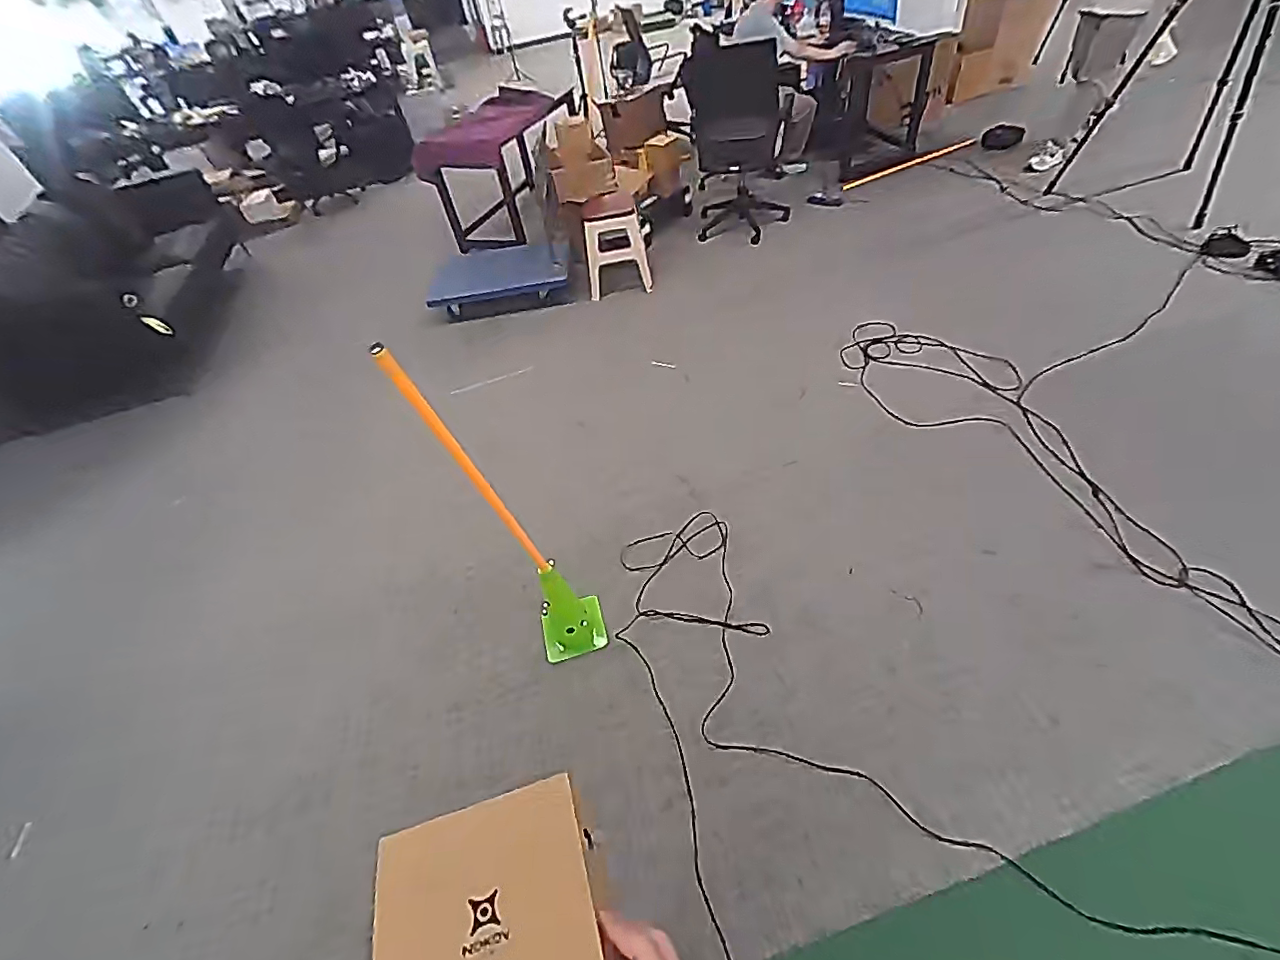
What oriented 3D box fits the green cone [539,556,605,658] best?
[{"bbox_3d":[-0.246,0.356,1.644,0.202,0.368,0.200,-16,47,-6],"label":"green cone"}]
